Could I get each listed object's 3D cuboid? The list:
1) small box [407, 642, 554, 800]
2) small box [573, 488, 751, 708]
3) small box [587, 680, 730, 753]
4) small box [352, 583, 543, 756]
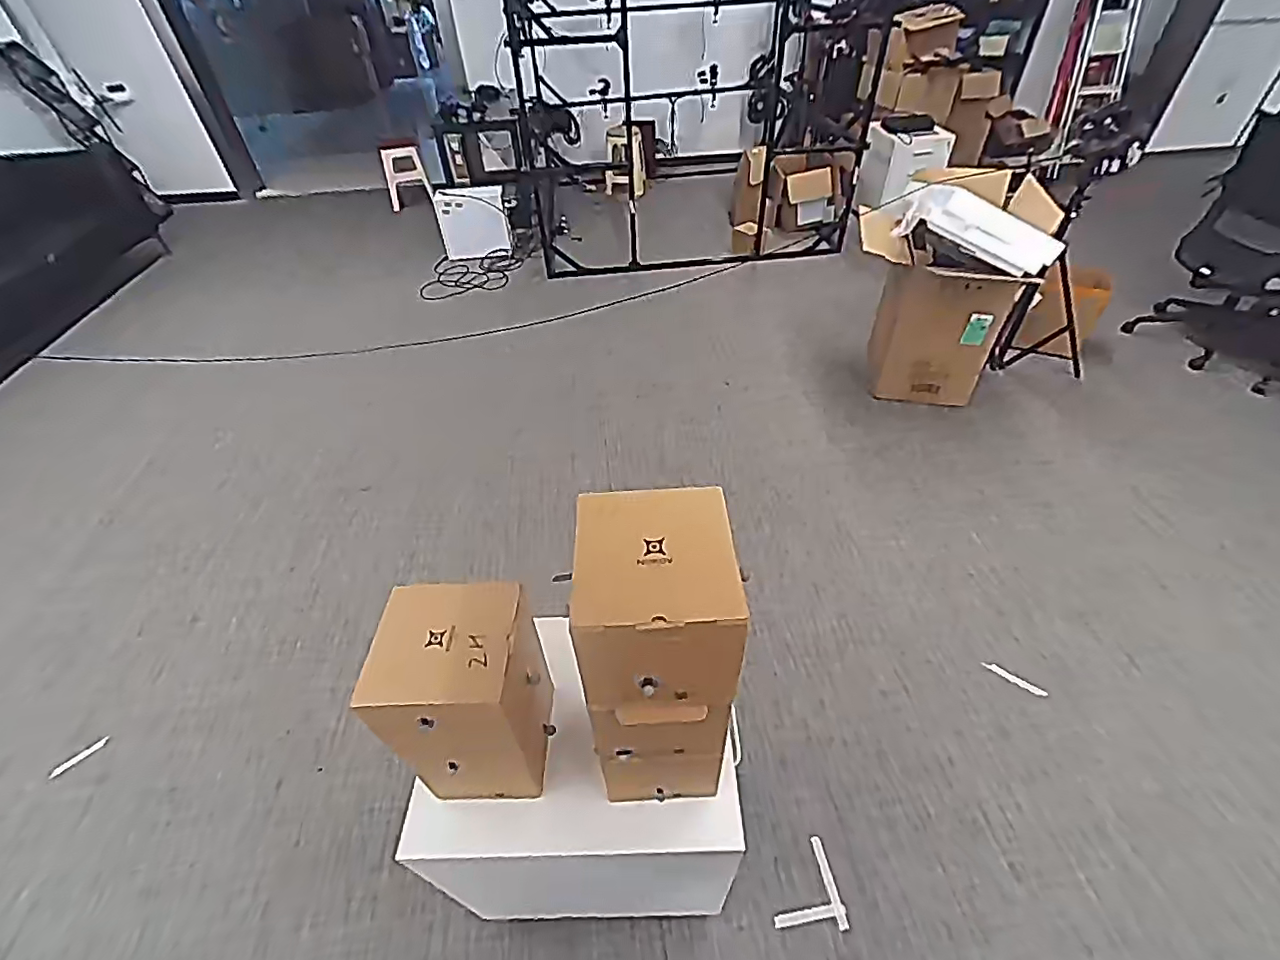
[{"bbox_3d":[-0.231,0.371,0.837,0.168,0.176,0.179,-2,43,2],"label":"small box"},{"bbox_3d":[0.019,0.130,0.603,0.168,0.176,0.179,-3,45,0],"label":"small box"},{"bbox_3d":[0.024,0.246,0.717,0.168,0.176,0.179,-3,43,0],"label":"small box"},{"bbox_3d":[-0.238,0.255,0.720,0.179,0.176,0.168,-2,45,1],"label":"small box"}]
